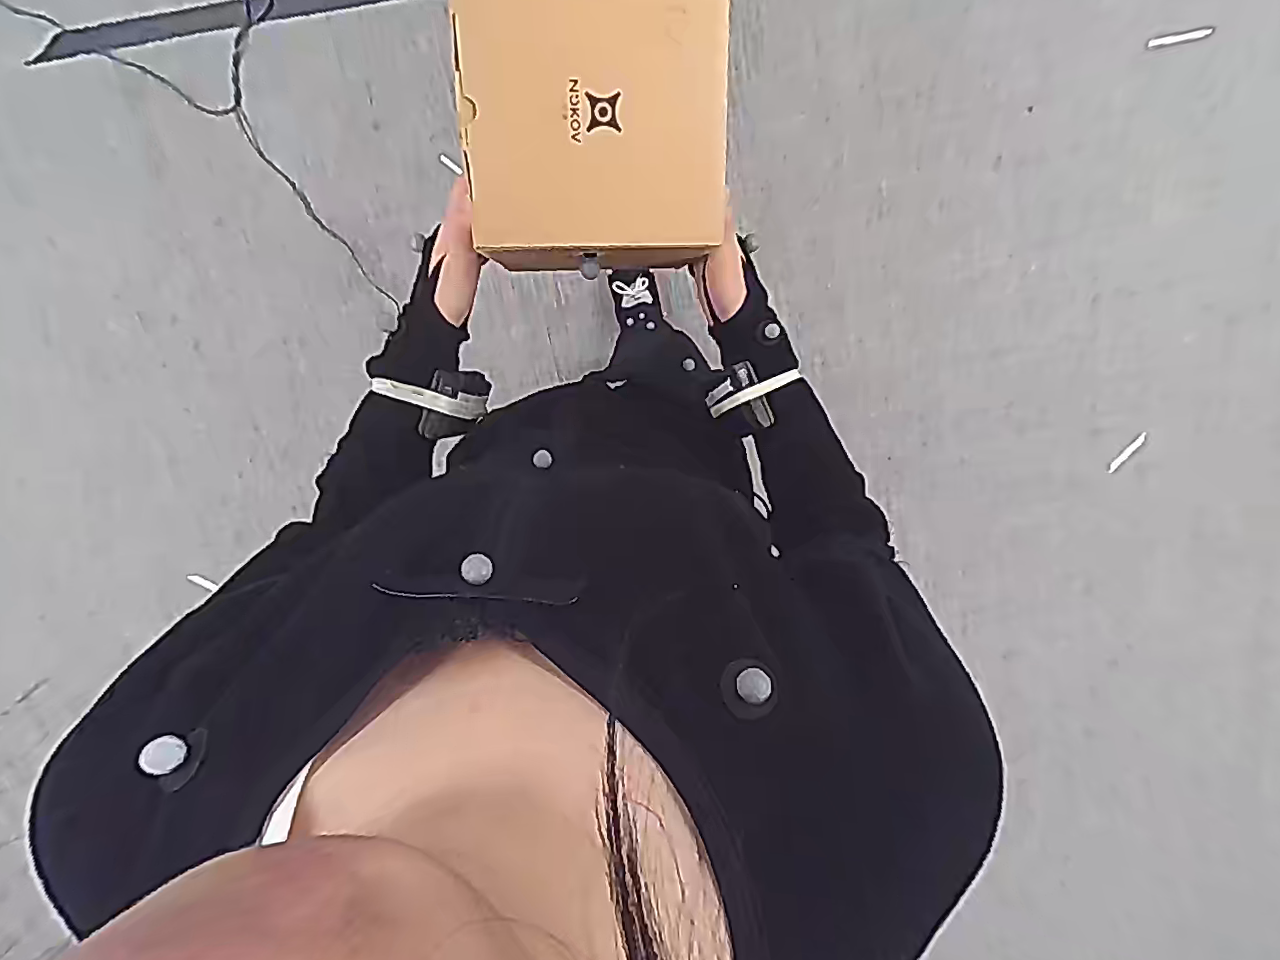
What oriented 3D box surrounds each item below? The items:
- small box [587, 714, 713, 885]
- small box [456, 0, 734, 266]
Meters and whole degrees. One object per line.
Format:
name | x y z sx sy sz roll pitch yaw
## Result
small box | 0.015 0.515 0.890 0.179 0.176 0.168 -8 103 -1
small box | -0.033 -0.267 0.431 0.179 0.176 0.168 -2 107 -3
